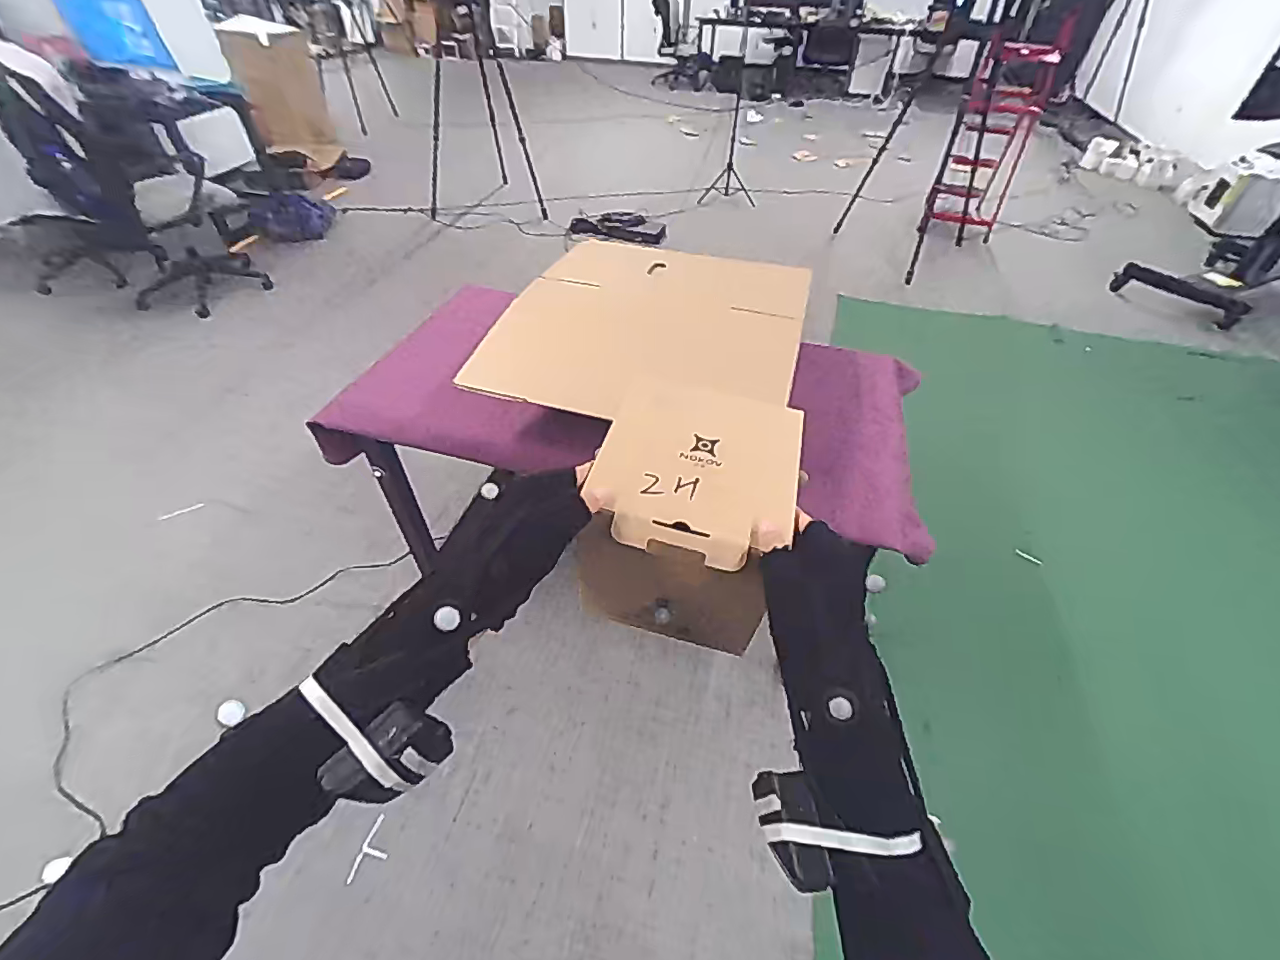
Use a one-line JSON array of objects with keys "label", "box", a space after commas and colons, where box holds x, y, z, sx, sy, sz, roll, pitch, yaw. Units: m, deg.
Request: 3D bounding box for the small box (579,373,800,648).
[{"label": "small box", "box": [0.044, 0.029, 0.519, 0.168, 0.176, 0.179, 14, 48, 7]}]
